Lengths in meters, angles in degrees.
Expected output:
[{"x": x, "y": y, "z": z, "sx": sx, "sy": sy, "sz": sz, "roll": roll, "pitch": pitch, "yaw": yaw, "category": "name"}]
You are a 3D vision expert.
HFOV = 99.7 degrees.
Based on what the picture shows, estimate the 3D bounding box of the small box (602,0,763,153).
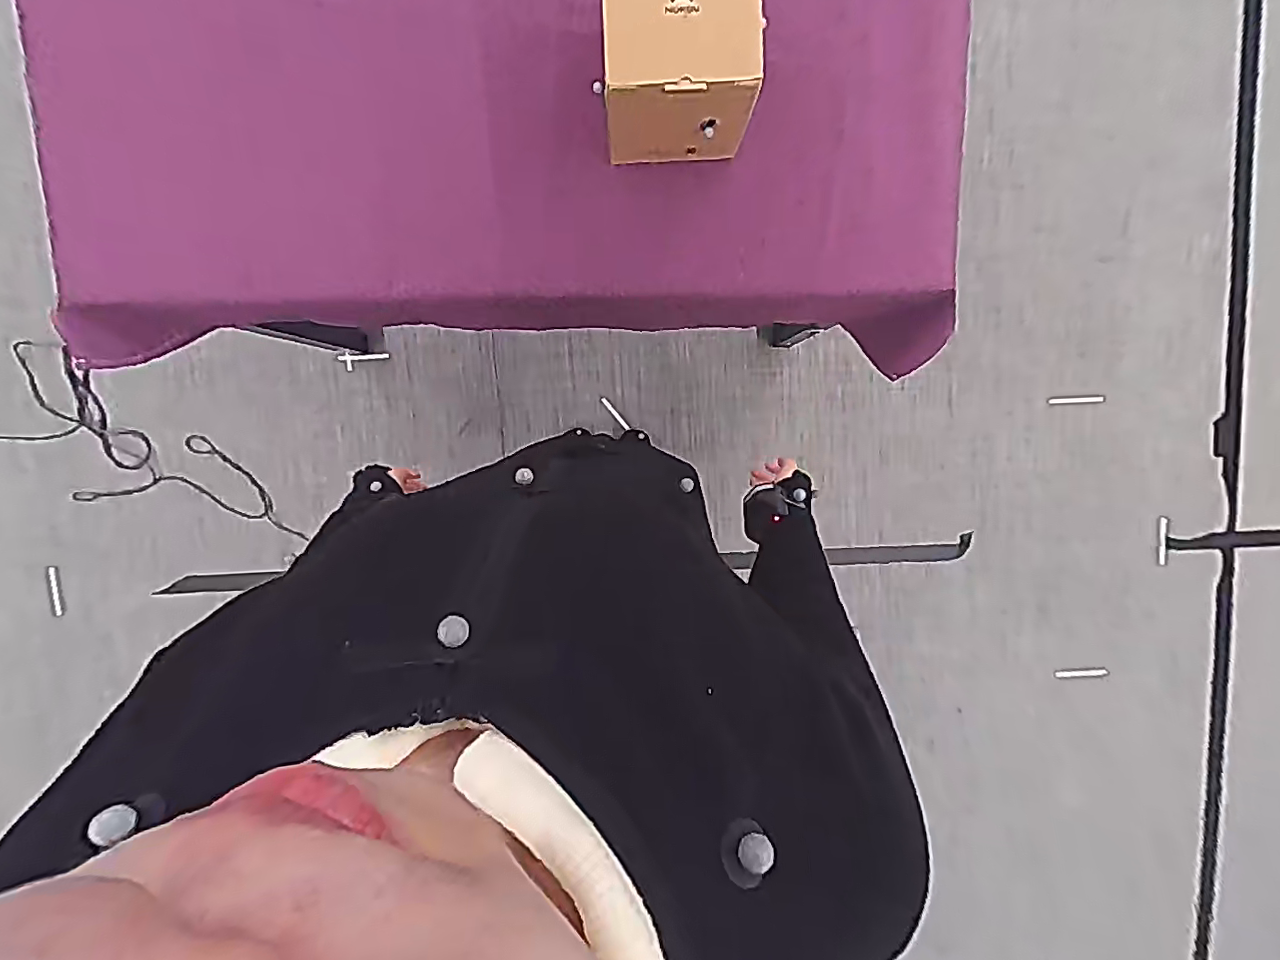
[{"x": 0.042, "y": -0.505, "z": 0.627, "sx": 0.168, "sy": 0.176, "sz": 0.179, "roll": -3, "pitch": 96, "yaw": -1, "category": "small box"}]
